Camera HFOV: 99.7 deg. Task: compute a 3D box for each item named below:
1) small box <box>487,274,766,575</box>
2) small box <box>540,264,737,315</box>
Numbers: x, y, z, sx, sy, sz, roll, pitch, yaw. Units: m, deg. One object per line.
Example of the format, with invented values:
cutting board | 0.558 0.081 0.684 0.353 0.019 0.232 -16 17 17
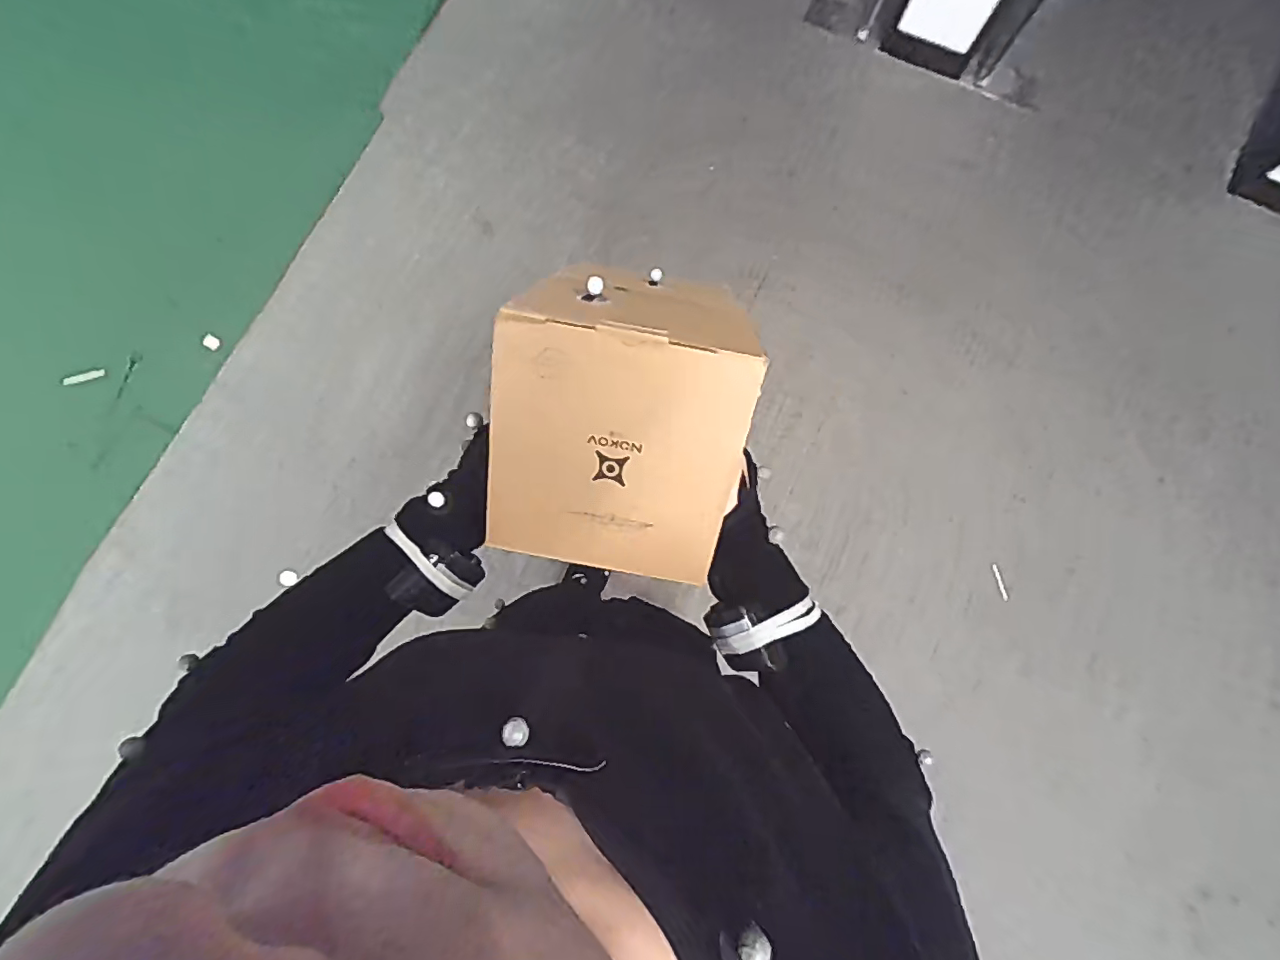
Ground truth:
small box | -0.013 -0.055 0.431 0.168 0.176 0.179 10 118 -1
small box | -0.006 -0.129 0.577 0.179 0.176 0.168 8 117 -1
